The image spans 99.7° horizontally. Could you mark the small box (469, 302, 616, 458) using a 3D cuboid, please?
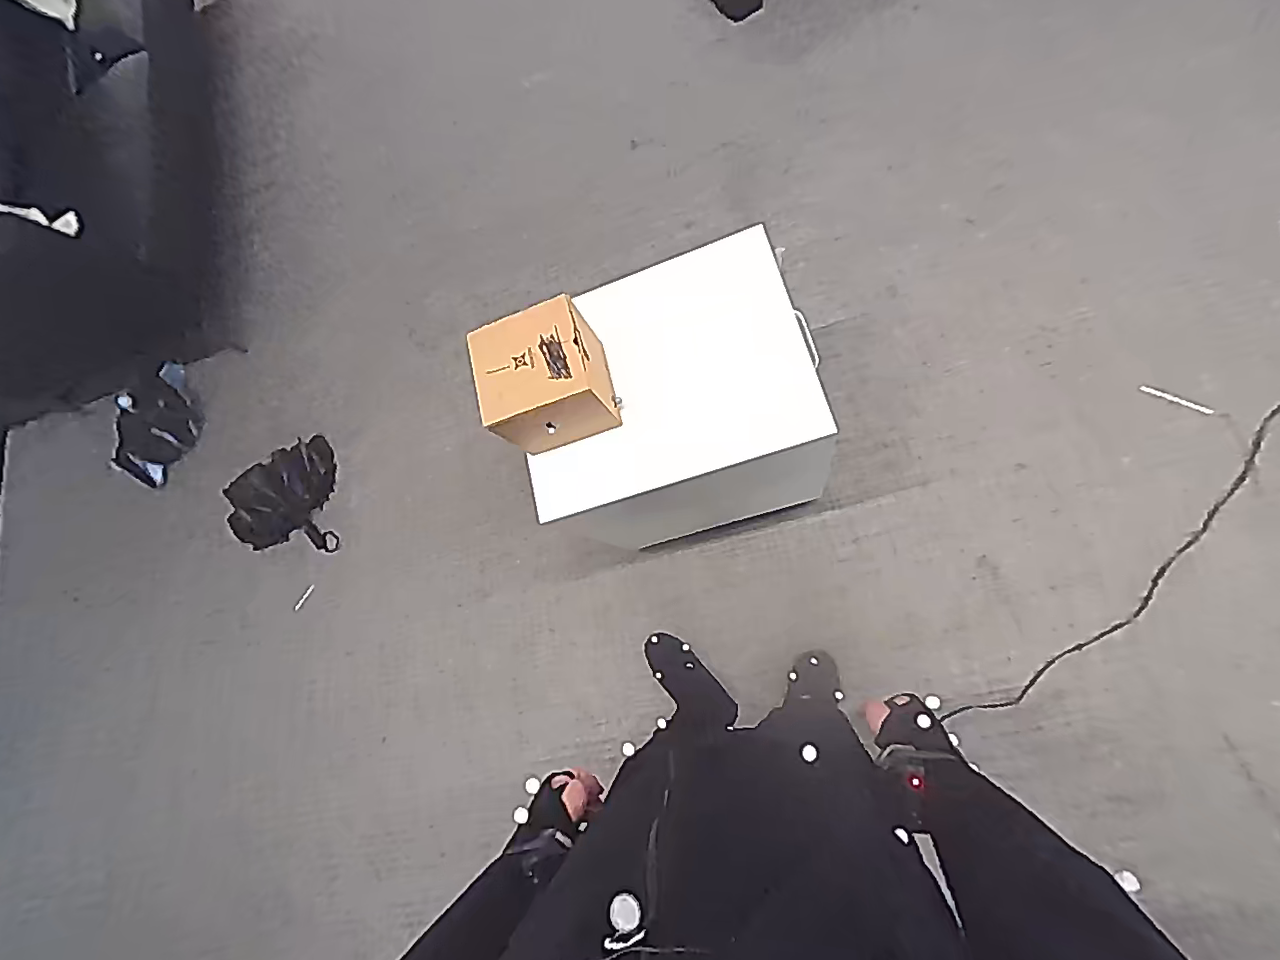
[{"bbox_3d":[-0.149,-0.153,0.883,0.179,0.176,0.168,-18,73,11],"label":"small box"}]
